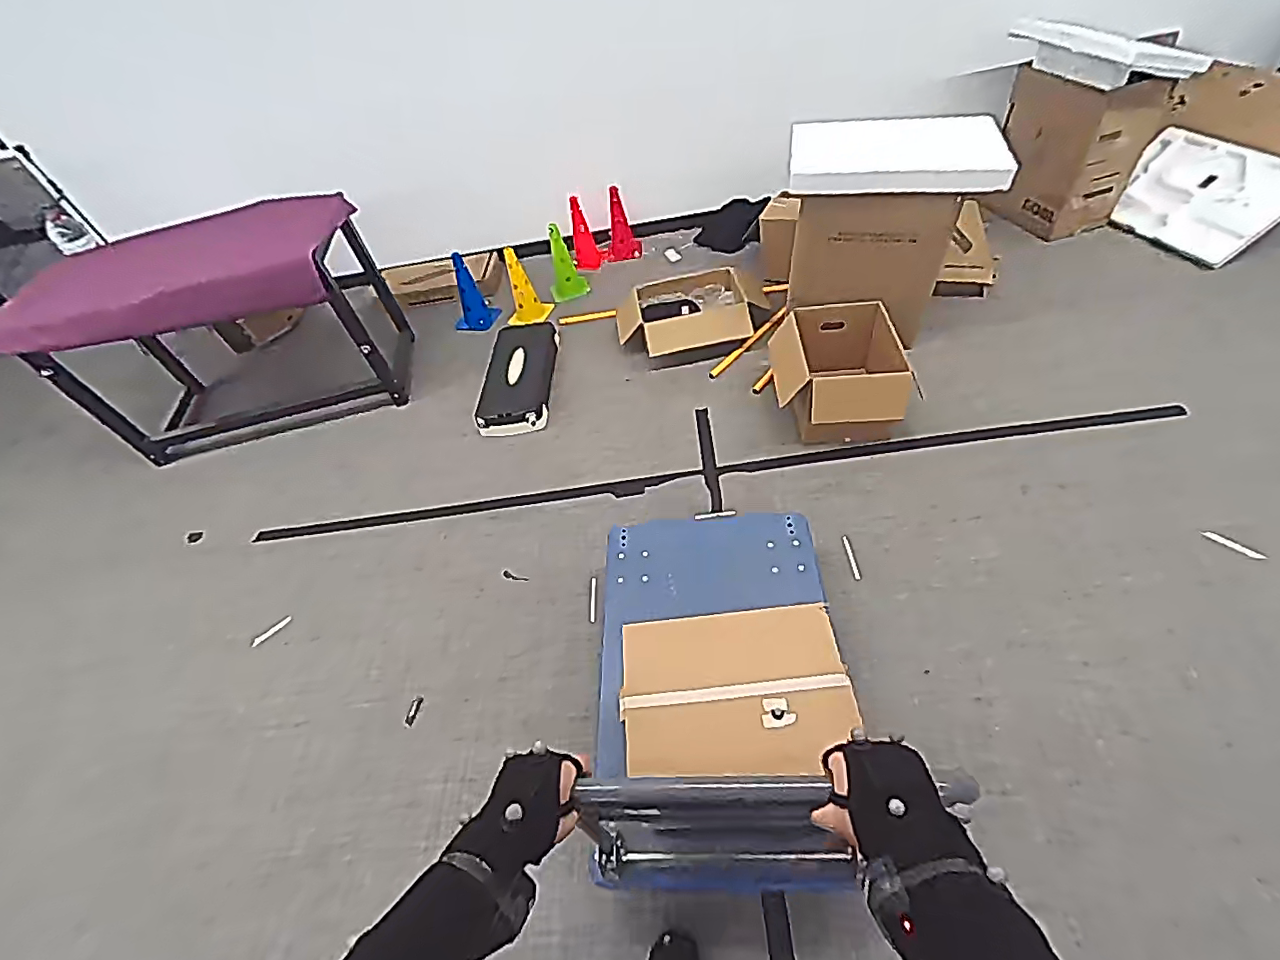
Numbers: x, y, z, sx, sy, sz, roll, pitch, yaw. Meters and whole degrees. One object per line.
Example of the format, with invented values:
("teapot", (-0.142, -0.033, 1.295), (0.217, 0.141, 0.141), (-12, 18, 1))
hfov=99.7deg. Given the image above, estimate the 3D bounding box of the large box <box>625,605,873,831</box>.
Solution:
("large box", (0.193, 0.487, 1.097), (0.408, 0.320, 0.320), (-7, 49, 3))
